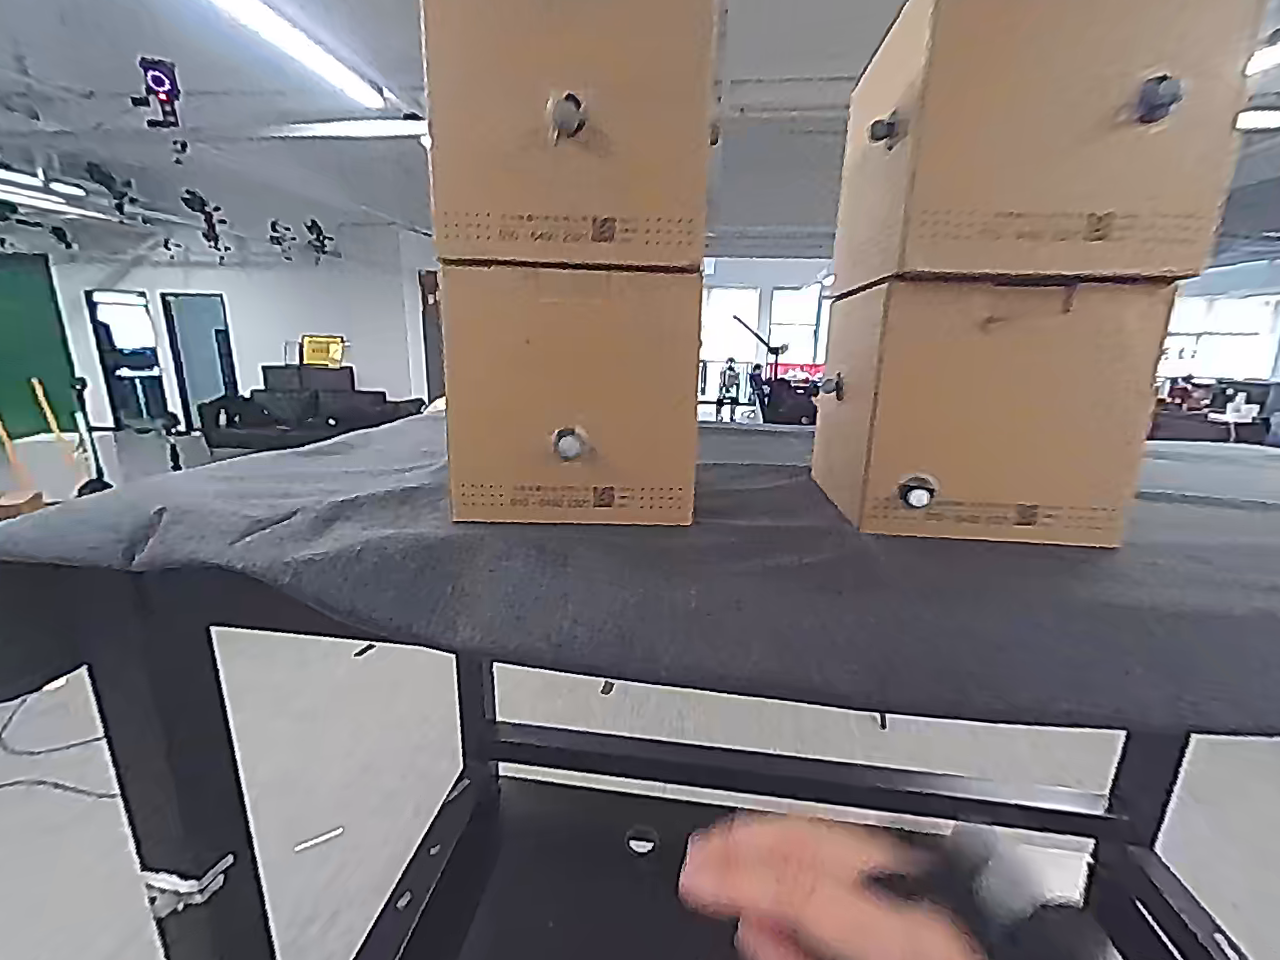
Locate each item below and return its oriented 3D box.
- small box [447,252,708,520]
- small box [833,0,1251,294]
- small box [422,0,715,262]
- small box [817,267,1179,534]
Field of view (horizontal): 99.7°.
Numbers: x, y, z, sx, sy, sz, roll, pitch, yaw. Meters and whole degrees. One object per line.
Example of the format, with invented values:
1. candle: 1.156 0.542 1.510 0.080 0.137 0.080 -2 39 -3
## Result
1. small box: -0.042 -0.074 0.431 0.168 0.176 0.179 1 14 -1
2. small box: 0.243 -0.218 0.369 0.168 0.176 0.179 4 13 4
3. small box: -0.038 -0.233 0.387 0.168 0.176 0.179 2 14 0
4. small box: 0.243 -0.063 0.420 0.168 0.176 0.179 3 13 6
